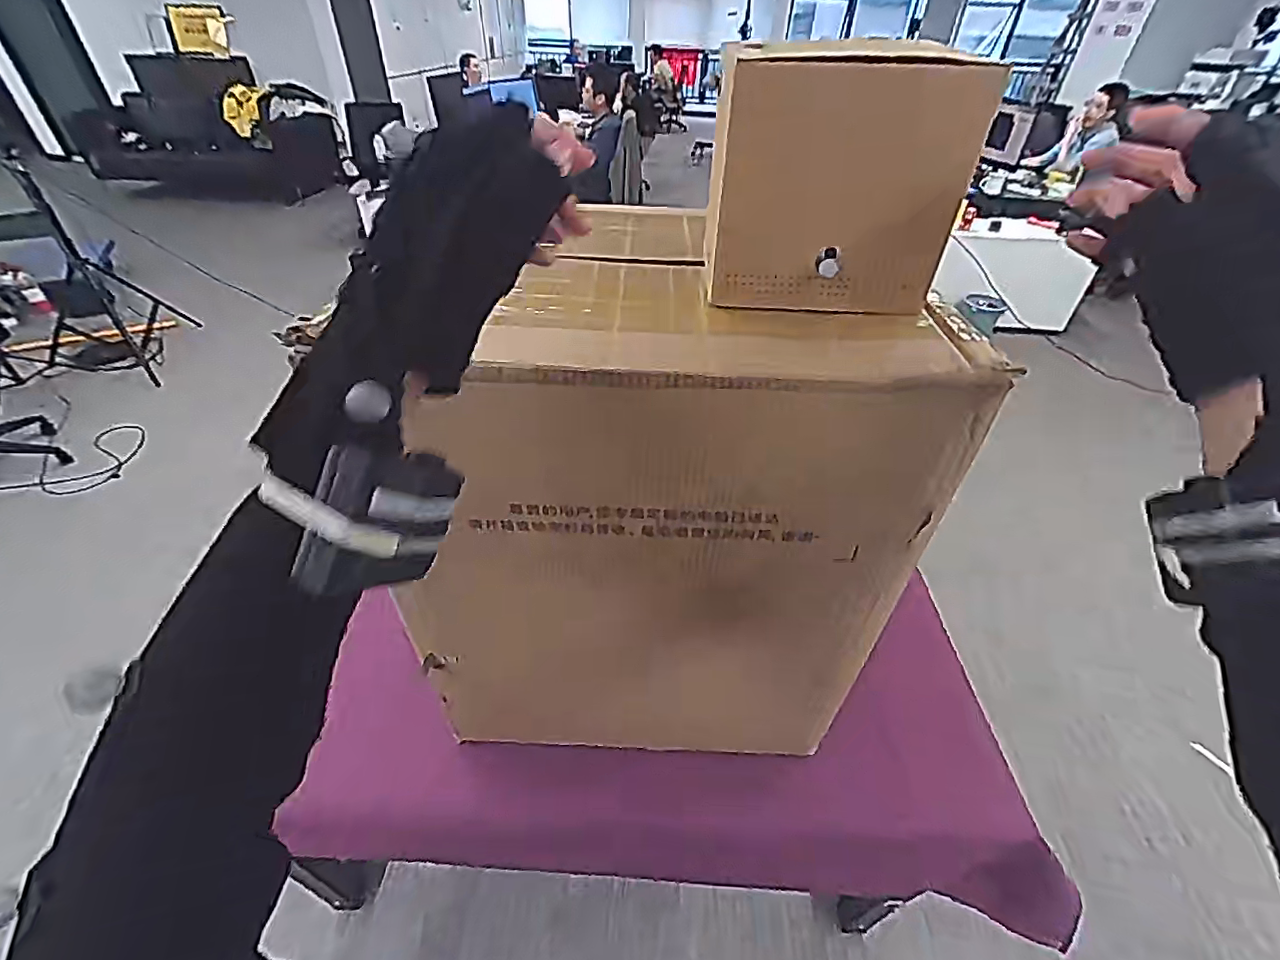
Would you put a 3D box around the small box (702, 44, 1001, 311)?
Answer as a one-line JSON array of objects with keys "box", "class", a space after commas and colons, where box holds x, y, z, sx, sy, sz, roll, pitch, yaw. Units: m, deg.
[{"box": [0.150, -0.255, 0.460, 0.179, 0.176, 0.168, 3, 40, 2], "class": "small box"}]
